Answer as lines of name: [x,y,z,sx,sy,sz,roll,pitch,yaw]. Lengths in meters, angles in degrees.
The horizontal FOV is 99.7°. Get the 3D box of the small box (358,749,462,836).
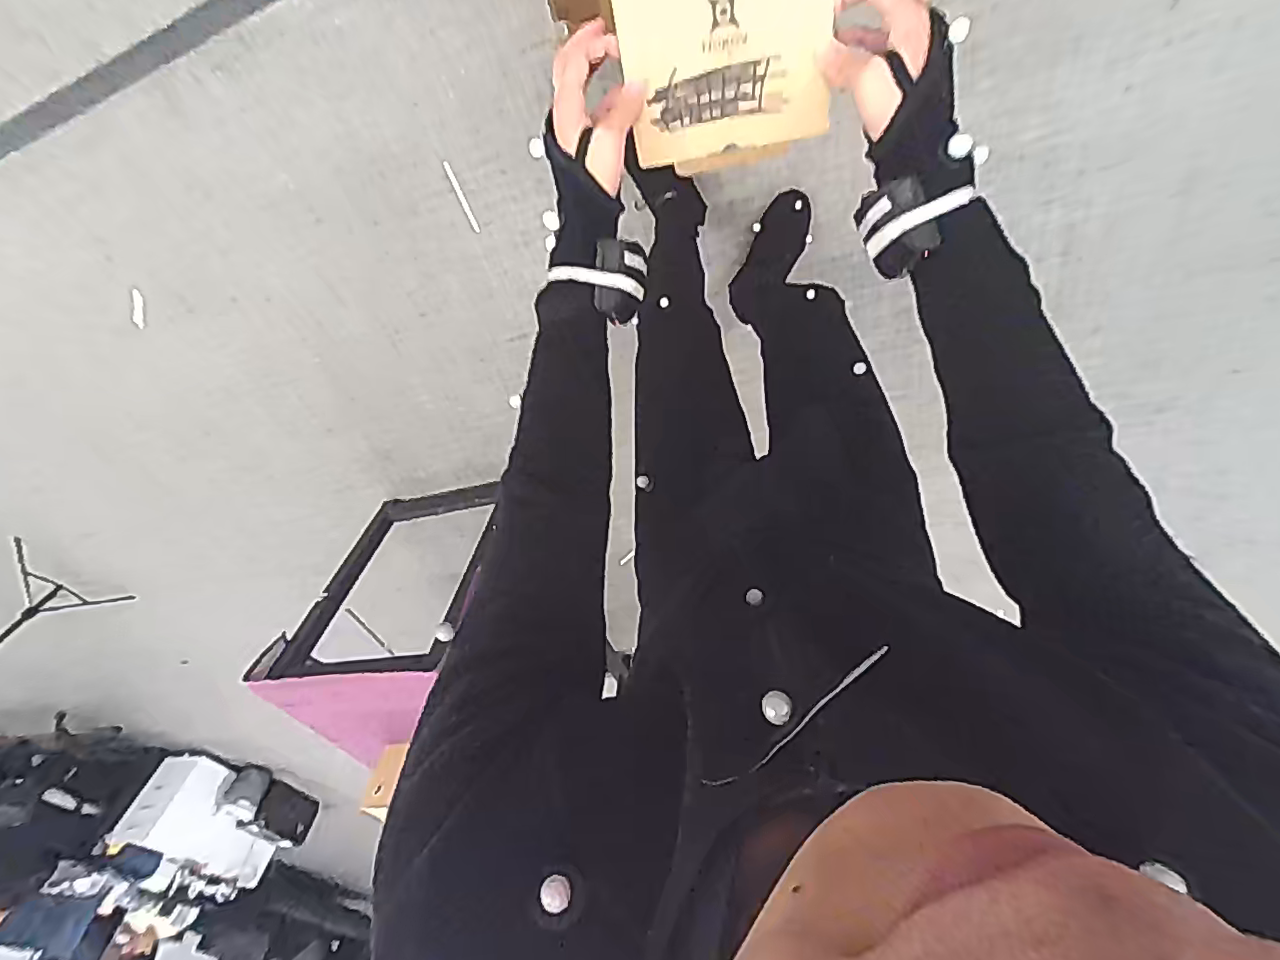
small box: [-0.638,0.878,1.521,0.179,0.176,0.168,-15,127,19]
